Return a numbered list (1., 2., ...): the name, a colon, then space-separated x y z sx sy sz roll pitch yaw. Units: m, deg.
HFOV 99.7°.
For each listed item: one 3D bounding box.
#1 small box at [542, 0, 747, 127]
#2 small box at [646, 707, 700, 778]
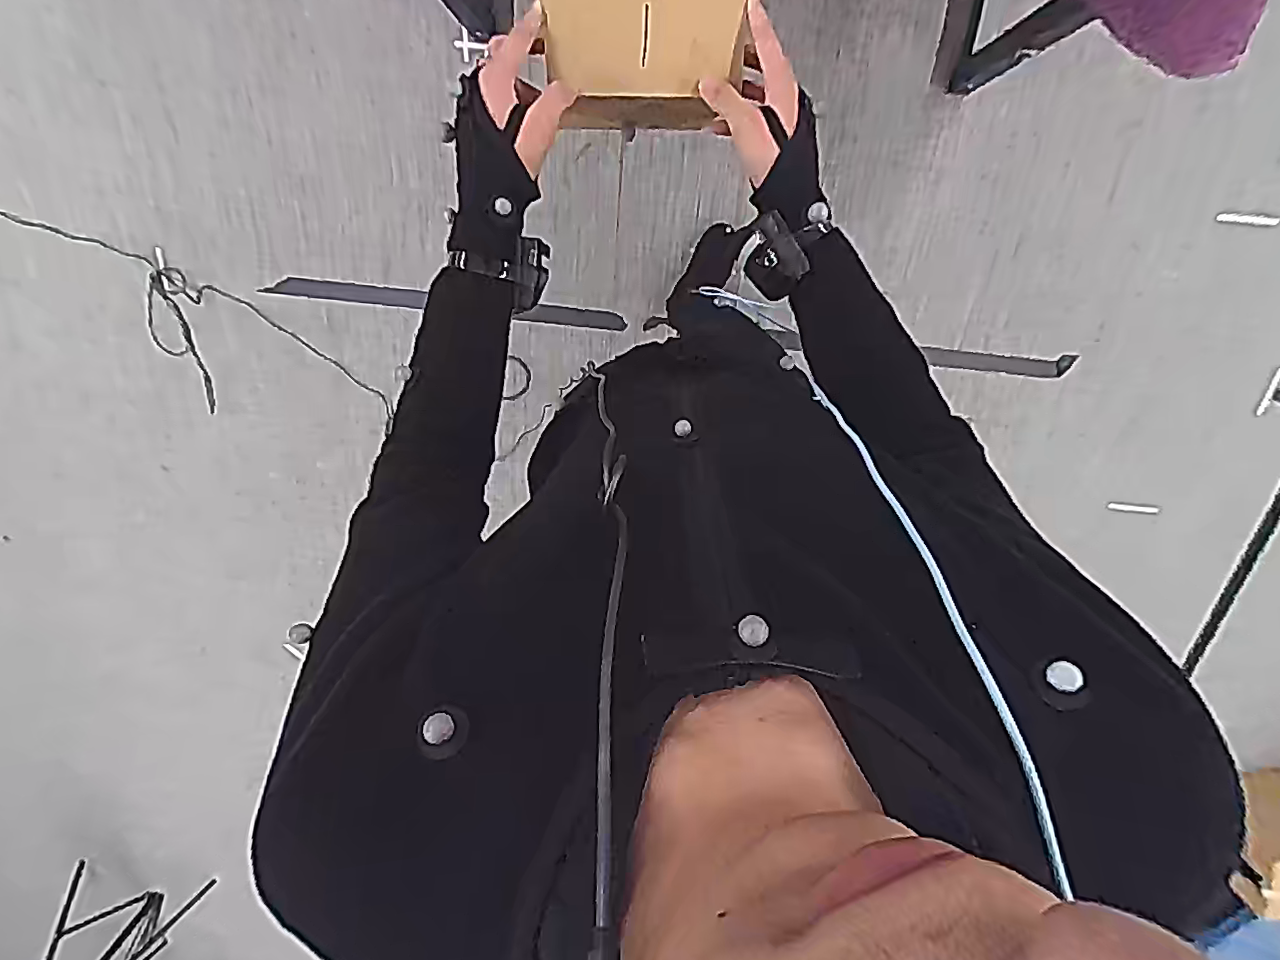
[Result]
1. small box: -0.004 -0.436 0.486 0.168 0.176 0.179 -3 116 -5
2. small box: 0.117 0.957 1.980 0.179 0.176 0.168 4 111 -1
